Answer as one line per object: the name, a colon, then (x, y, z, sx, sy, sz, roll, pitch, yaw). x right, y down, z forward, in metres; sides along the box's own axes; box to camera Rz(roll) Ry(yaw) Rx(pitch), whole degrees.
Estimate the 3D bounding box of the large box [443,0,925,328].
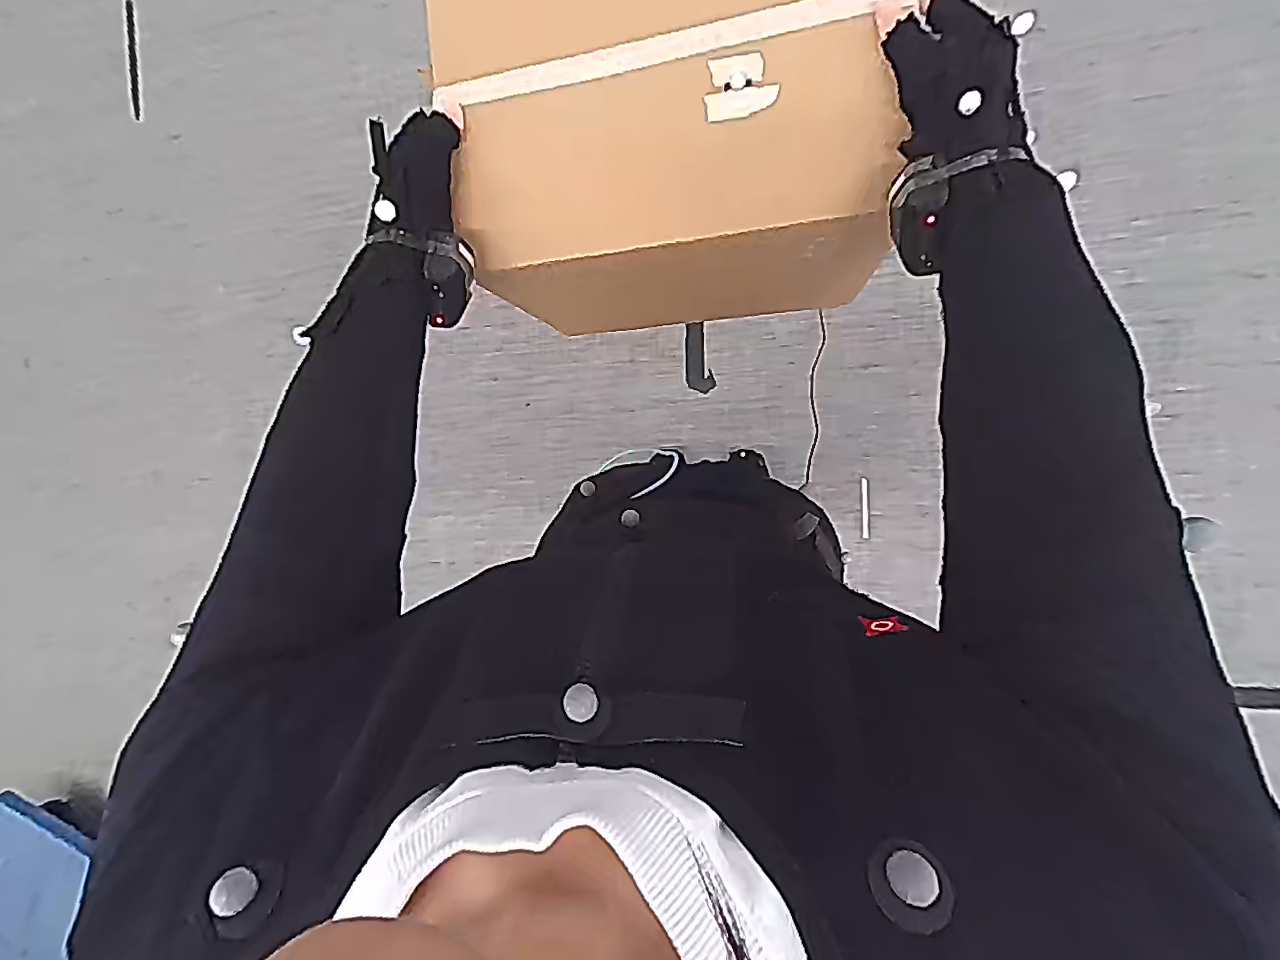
large box: (0.046, -0.378, 0.606, 0.408, 0.320, 0.320, -4, 94, 11)
